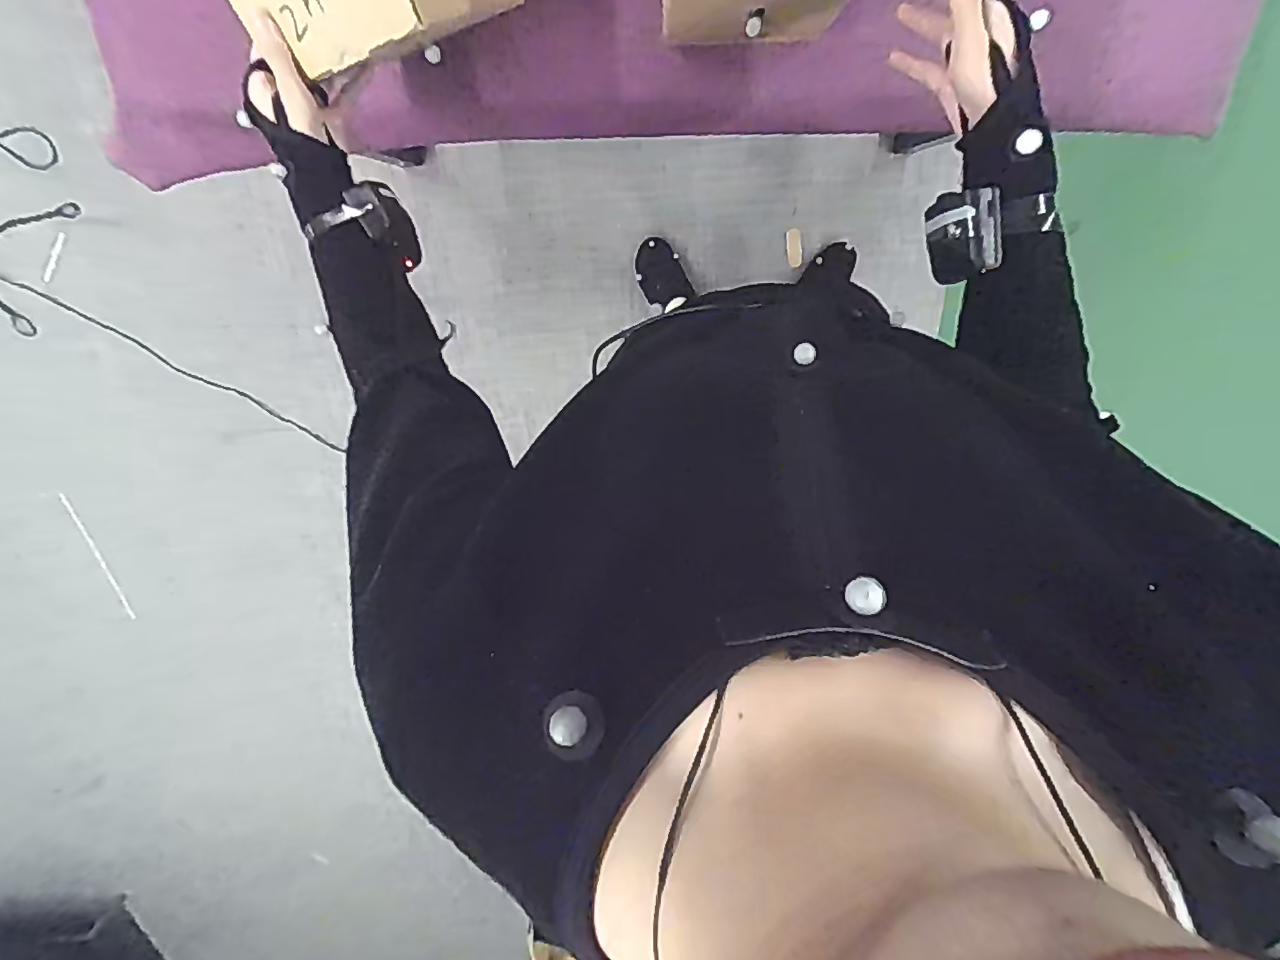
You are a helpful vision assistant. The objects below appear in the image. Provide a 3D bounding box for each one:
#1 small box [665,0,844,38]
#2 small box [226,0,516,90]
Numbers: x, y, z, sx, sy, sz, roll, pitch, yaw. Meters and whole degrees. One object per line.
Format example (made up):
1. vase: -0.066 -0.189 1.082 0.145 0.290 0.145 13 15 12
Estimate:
1. small box: 0.105 -0.503 0.457 0.168 0.176 0.179 -1 113 1
2. small box: -0.230 -0.448 0.425 0.168 0.176 0.179 2 135 27
